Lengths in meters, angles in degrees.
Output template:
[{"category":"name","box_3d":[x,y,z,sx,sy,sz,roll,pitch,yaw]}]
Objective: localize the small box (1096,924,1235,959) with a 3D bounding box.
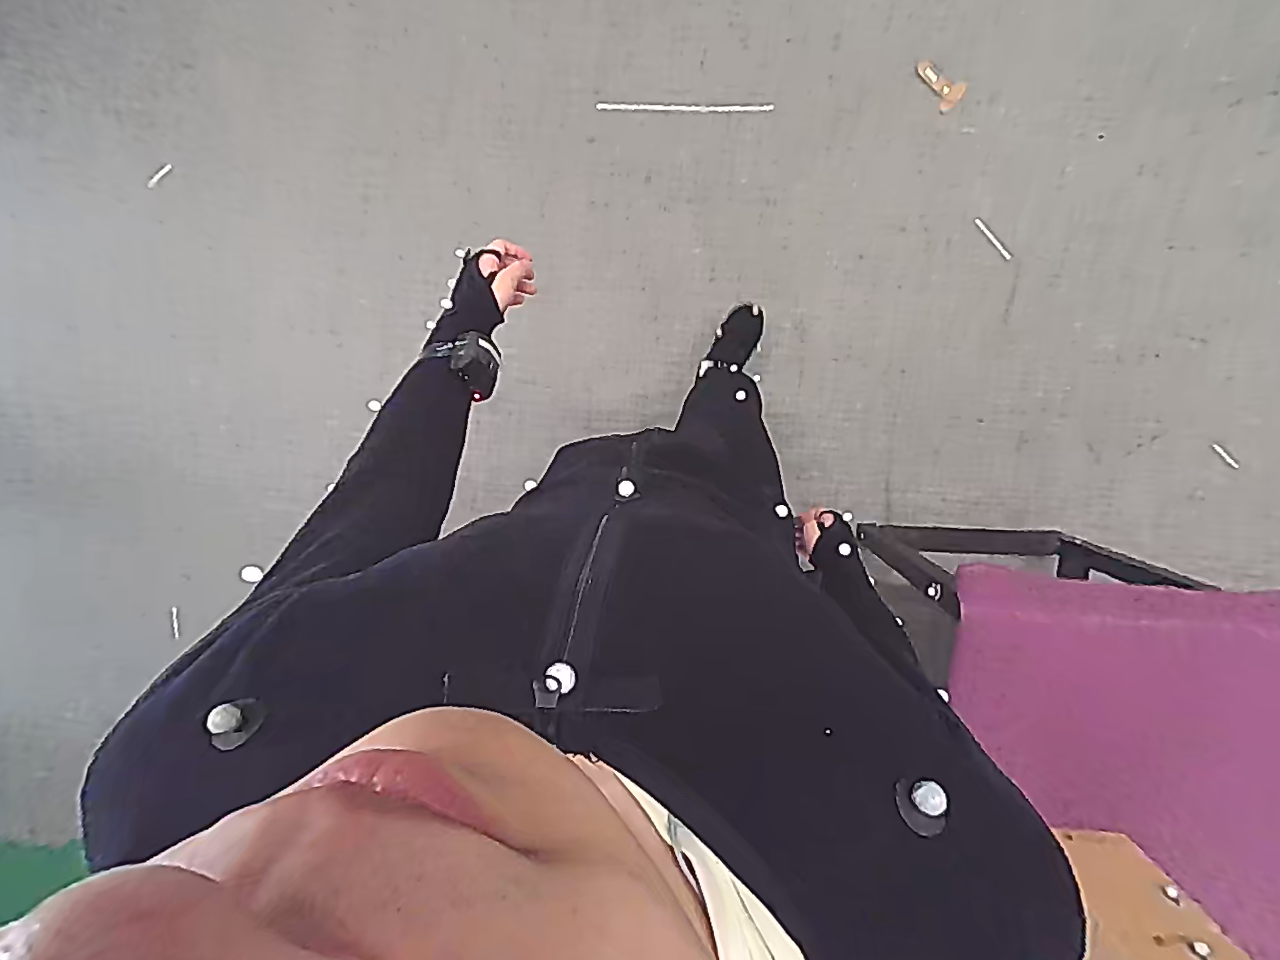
[{"category":"small box","box_3d":[0.717,0.724,0.686,0.168,0.176,0.179,3,98,4]}]
